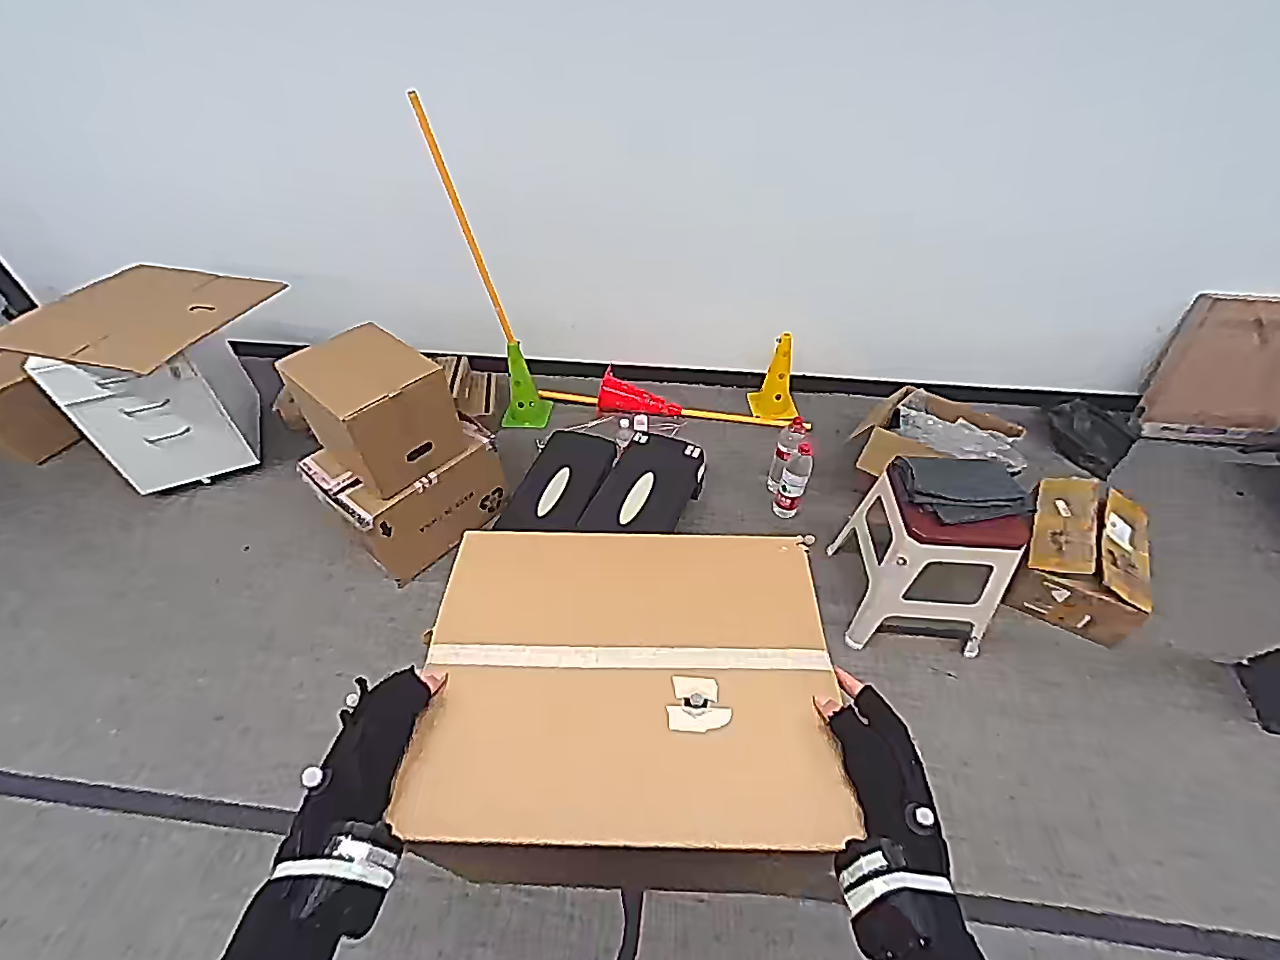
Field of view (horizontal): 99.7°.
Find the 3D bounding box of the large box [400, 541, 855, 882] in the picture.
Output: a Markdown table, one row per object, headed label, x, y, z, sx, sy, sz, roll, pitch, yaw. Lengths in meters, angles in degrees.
| label | x | y | z | sx | sy | sz | roll | pitch | yaw |
| --- | --- | --- | --- | --- | --- | --- | --- | --- | --- |
| large box | -0.012 | 0.291 | 0.673 | 0.408 | 0.320 | 0.320 | 1 | 48 | 1 |
